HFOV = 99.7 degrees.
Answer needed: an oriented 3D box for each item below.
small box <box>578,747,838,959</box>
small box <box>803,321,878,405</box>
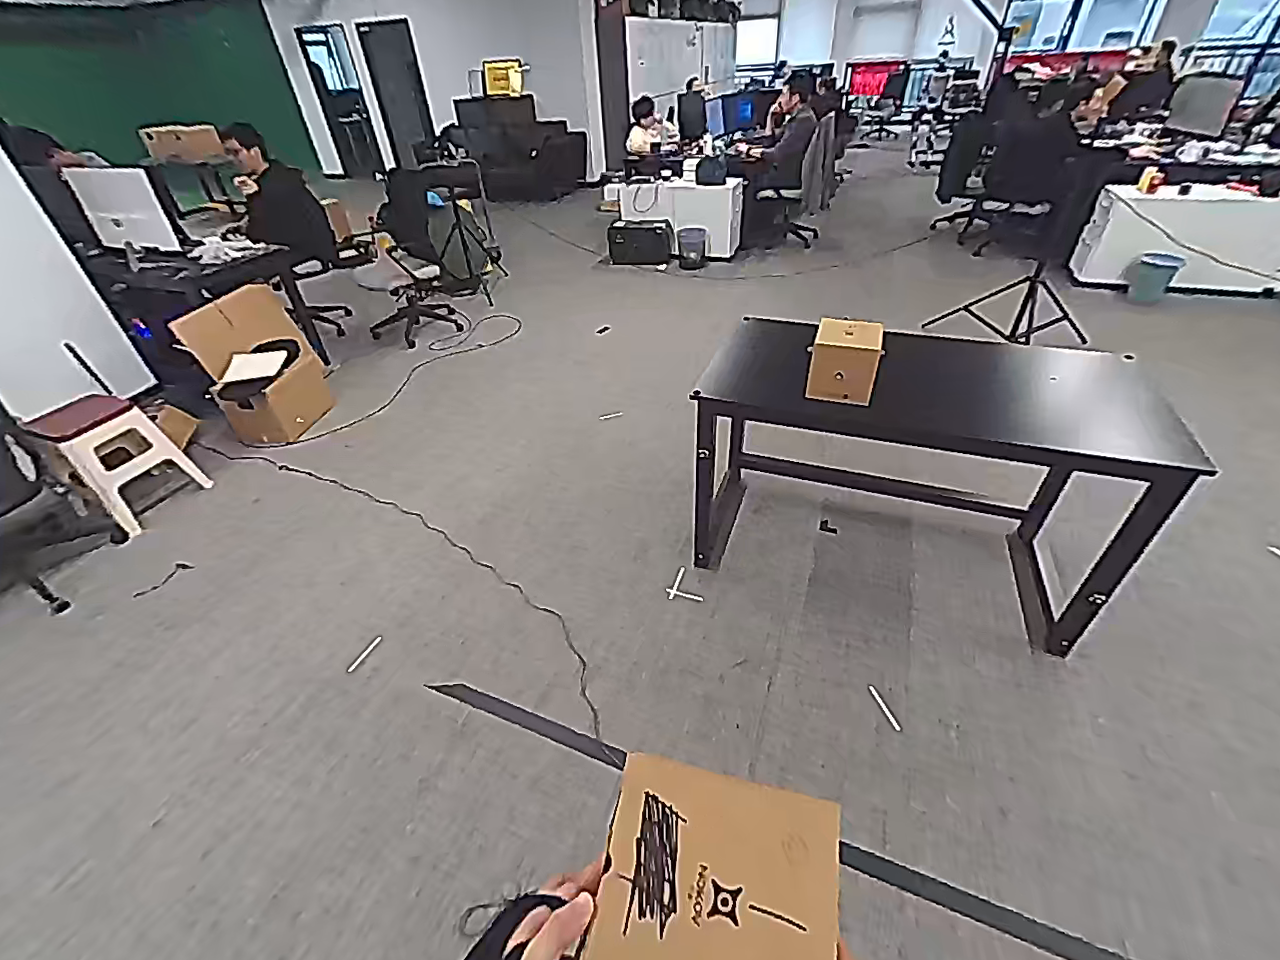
[{"bbox_3d":[0.064,0.358,0.465,0.179,0.176,0.168,8,51,13],"label":"small box"},{"bbox_3d":[0.559,-0.327,1.514,0.168,0.176,0.179,11,40,18],"label":"small box"}]
